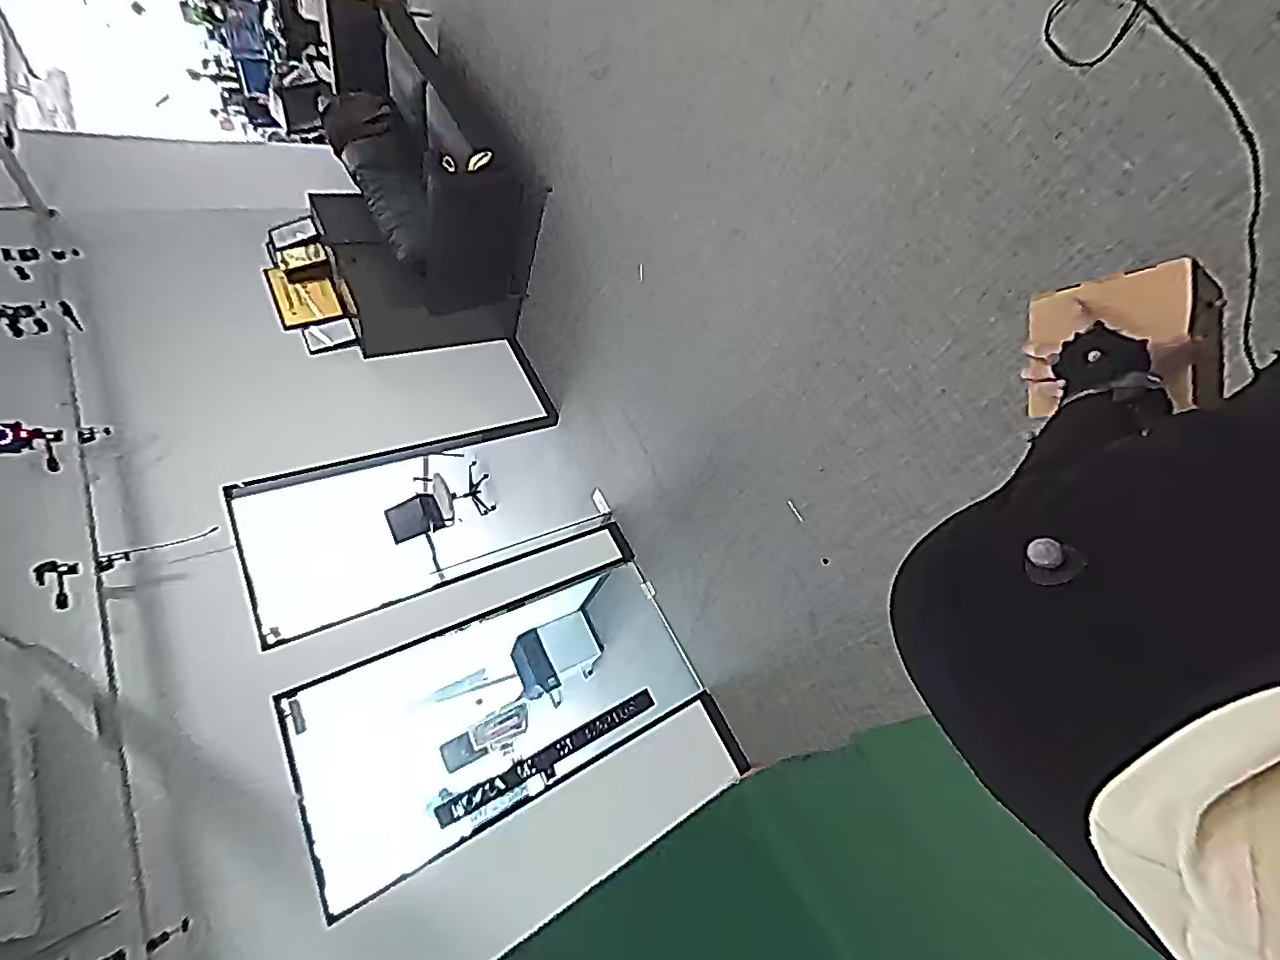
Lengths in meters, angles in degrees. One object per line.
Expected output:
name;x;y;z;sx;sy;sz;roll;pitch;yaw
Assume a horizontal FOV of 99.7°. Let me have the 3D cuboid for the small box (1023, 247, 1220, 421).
small box;0.651;-0.182;0.735;0.168;0.176;0.179;0;87;56
